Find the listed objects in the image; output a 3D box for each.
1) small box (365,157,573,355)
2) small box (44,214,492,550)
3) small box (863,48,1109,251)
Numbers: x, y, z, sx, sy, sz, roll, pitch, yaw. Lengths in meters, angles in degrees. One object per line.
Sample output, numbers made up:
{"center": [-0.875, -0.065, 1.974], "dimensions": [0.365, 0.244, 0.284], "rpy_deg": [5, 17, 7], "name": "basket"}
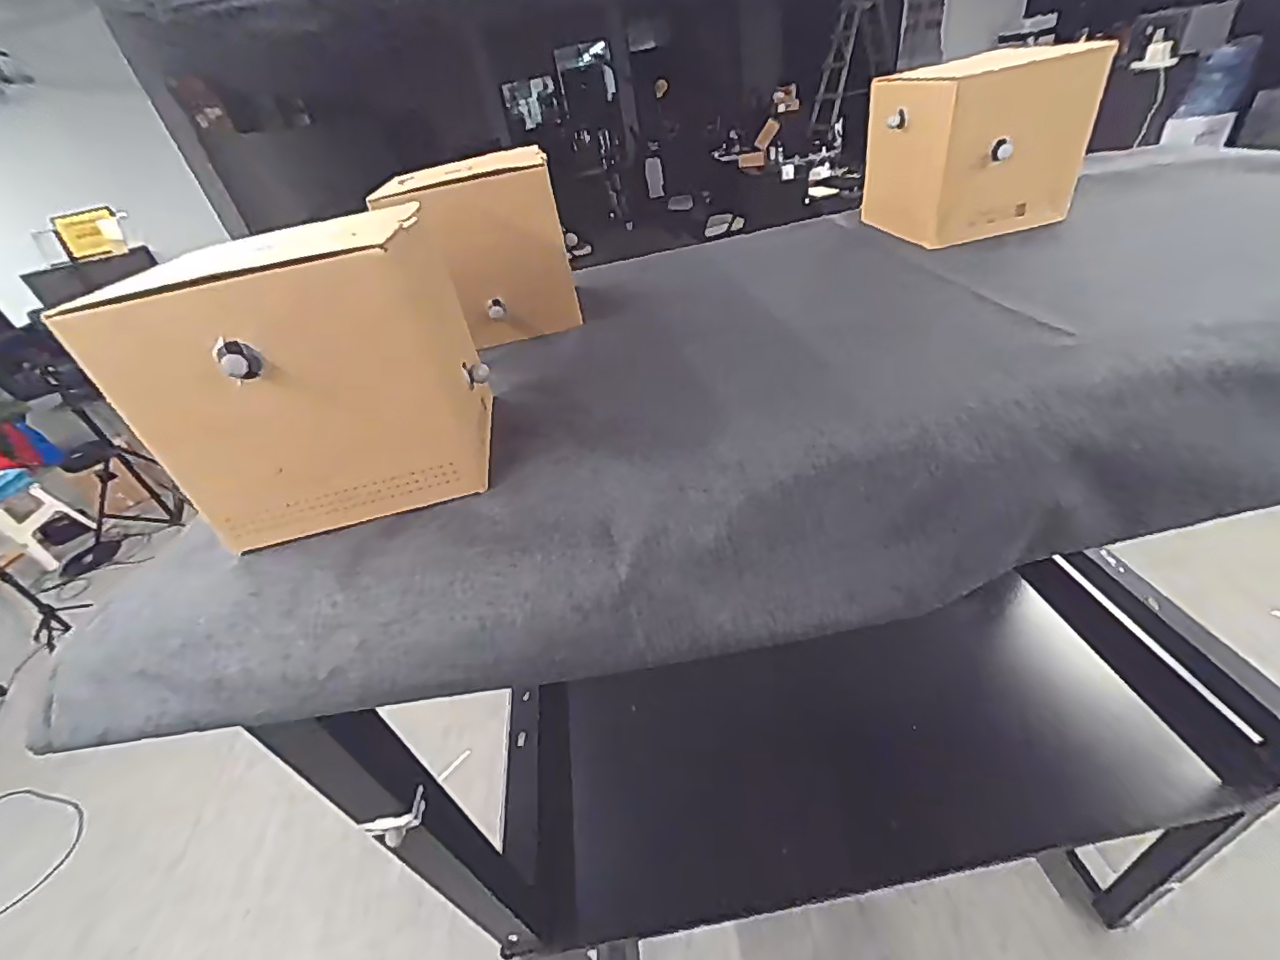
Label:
{"center": [-0.177, -0.255, 0.623], "dimensions": [0.179, 0.176, 0.168], "rpy_deg": [-13, 36, -3], "name": "small box"}
{"center": [-0.221, -0.073, 0.388], "dimensions": [0.179, 0.176, 0.168], "rpy_deg": [-14, 35, -4], "name": "small box"}
{"center": [0.384, -0.385, 0.642], "dimensions": [0.168, 0.176, 0.179], "rpy_deg": [-13, 36, -1], "name": "small box"}
